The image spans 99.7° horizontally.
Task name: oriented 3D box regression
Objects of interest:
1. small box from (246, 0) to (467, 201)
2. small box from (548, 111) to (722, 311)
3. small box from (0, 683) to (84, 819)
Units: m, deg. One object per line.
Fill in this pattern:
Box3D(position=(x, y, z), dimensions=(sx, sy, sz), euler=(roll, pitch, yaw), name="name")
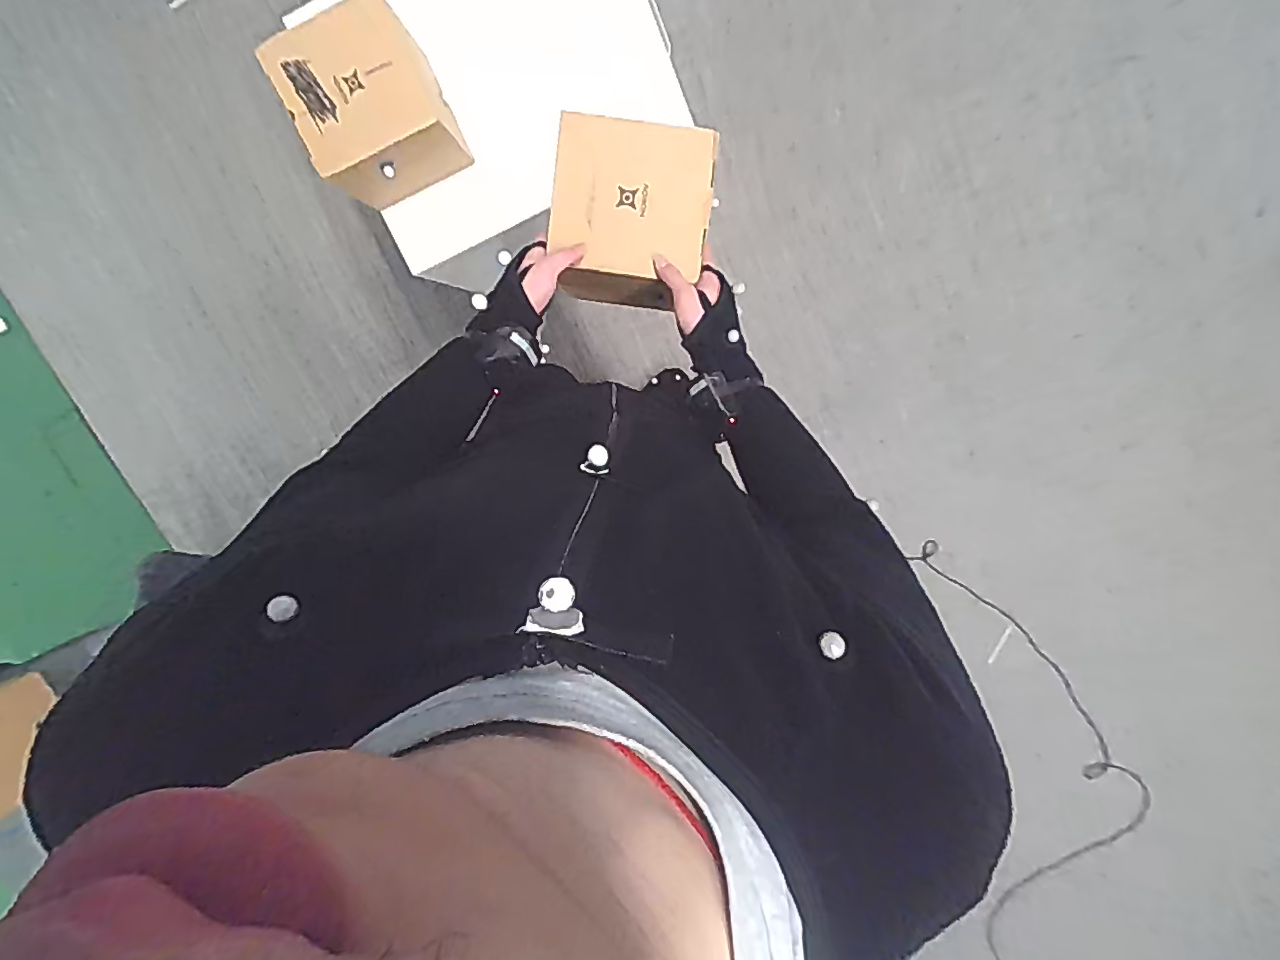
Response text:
Box3D(position=(-0.368, -0.512, 0.740), dimensions=(0.179, 0.176, 0.168), euler=(-23, 104, 4), name="small box")
Box3D(position=(-0.006, -0.312, 0.664), dimensions=(0.179, 0.176, 0.168), euler=(6, 95, 0), name="small box")
Box3D(position=(-1.080, 0.452, 0.865), dimensions=(0.168, 0.176, 0.179), euler=(-20, 104, 5), name="small box")
